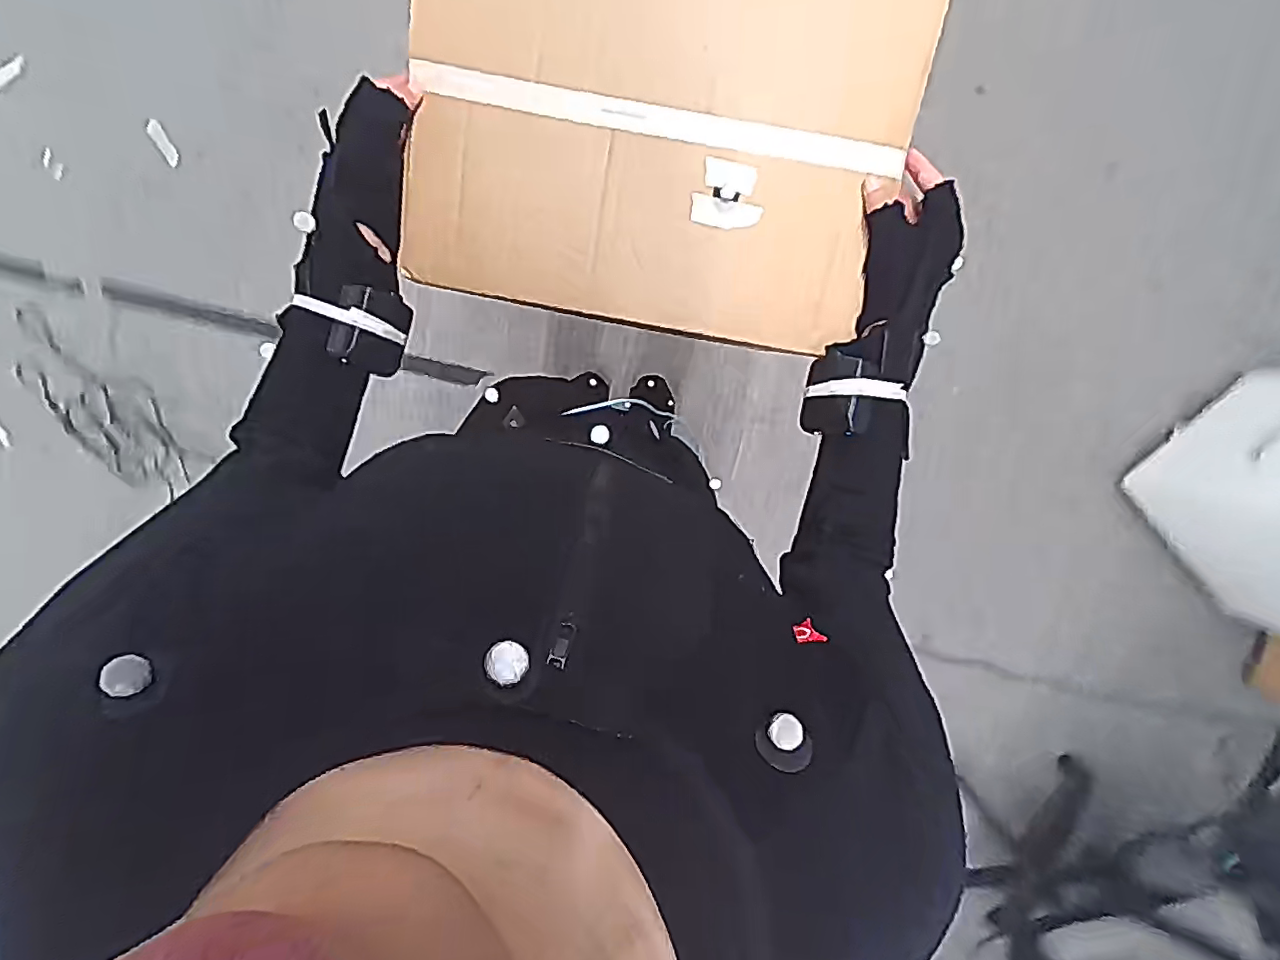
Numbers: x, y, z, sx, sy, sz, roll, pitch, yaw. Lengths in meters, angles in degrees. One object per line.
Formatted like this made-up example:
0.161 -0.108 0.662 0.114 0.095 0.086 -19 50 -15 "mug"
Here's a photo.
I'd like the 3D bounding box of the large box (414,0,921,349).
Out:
0.012 -0.331 0.600 0.408 0.320 0.320 9 106 -1 "large box"
